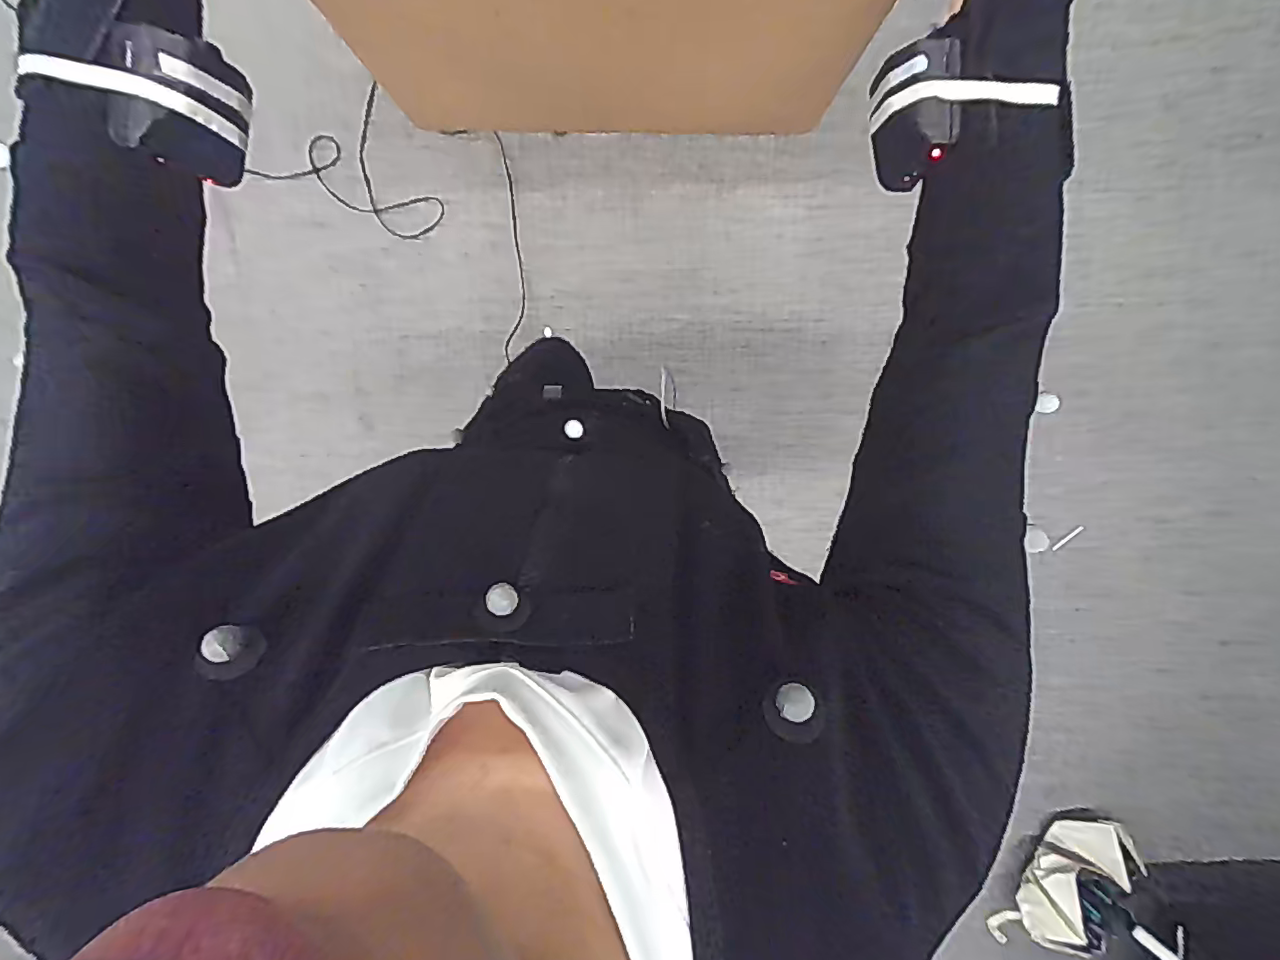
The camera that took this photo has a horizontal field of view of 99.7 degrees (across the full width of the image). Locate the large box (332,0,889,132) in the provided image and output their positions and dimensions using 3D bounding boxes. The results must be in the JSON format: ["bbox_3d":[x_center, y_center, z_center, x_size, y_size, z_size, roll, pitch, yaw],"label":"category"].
[{"bbox_3d":[-0.022,-0.486,0.385,0.408,0.320,0.320,0,99,-1],"label":"large box"}]
